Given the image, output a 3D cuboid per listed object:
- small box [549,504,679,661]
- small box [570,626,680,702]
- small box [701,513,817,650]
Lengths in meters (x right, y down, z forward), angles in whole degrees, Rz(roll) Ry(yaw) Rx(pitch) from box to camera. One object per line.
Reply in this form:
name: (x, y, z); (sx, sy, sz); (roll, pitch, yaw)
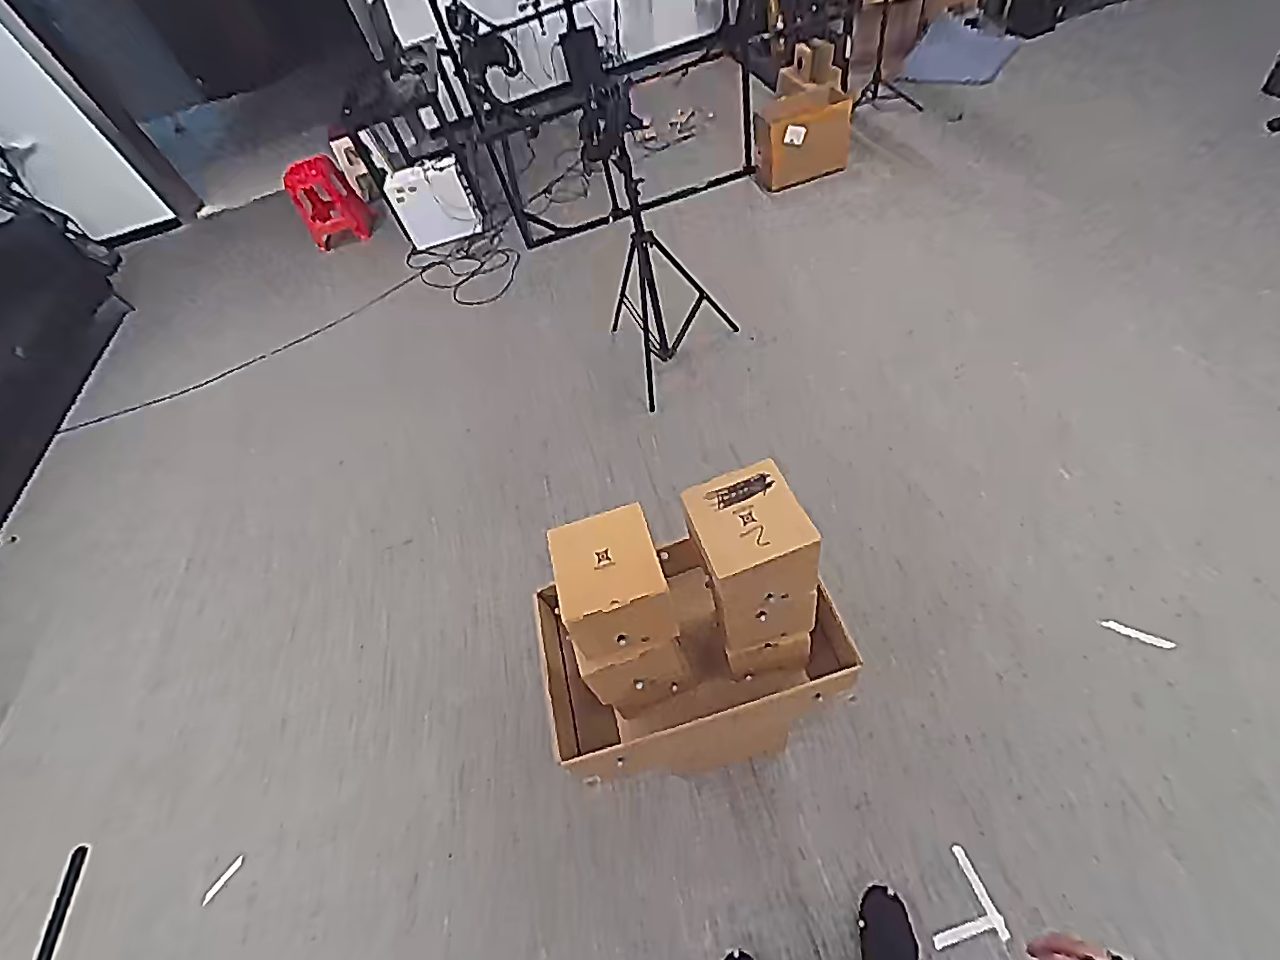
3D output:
small box: (-0.042, 0.175, 0.912); (0.168, 0.176, 0.179); (-18, 51, -2)
small box: (-0.034, 0.292, 1.029); (0.168, 0.176, 0.179); (-21, 52, -4)
small box: (0.222, 0.196, 1.029); (0.168, 0.176, 0.179); (-16, 51, 3)
